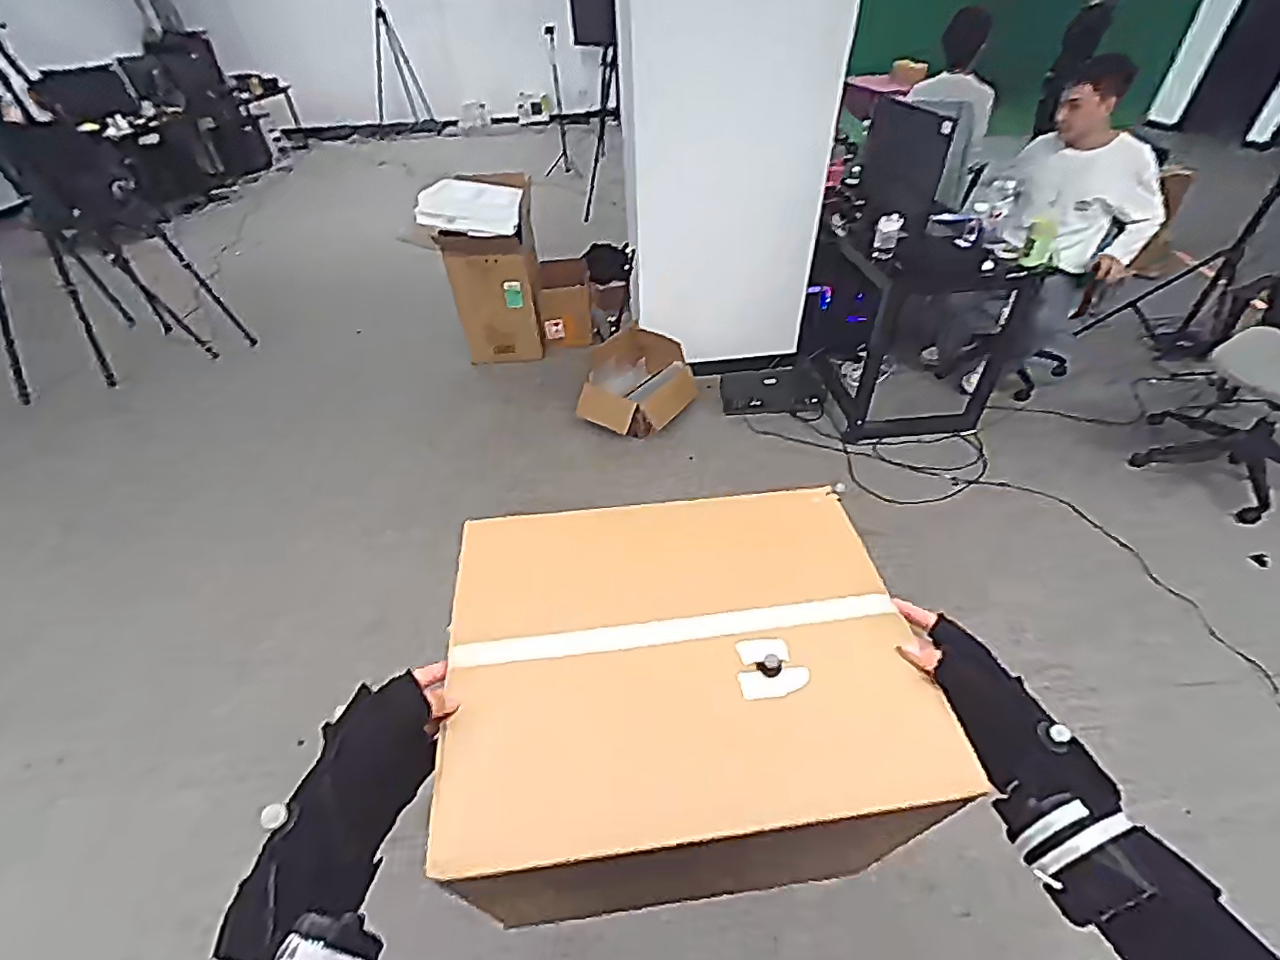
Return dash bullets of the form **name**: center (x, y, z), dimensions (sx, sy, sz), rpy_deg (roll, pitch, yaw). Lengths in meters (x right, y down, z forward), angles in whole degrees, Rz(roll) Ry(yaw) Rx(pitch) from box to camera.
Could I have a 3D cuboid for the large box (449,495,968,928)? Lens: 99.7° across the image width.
- **large box**: center (0.036, 0.249, 0.603), dimensions (0.408, 0.320, 0.320), rpy_deg (-5, 46, -6)
